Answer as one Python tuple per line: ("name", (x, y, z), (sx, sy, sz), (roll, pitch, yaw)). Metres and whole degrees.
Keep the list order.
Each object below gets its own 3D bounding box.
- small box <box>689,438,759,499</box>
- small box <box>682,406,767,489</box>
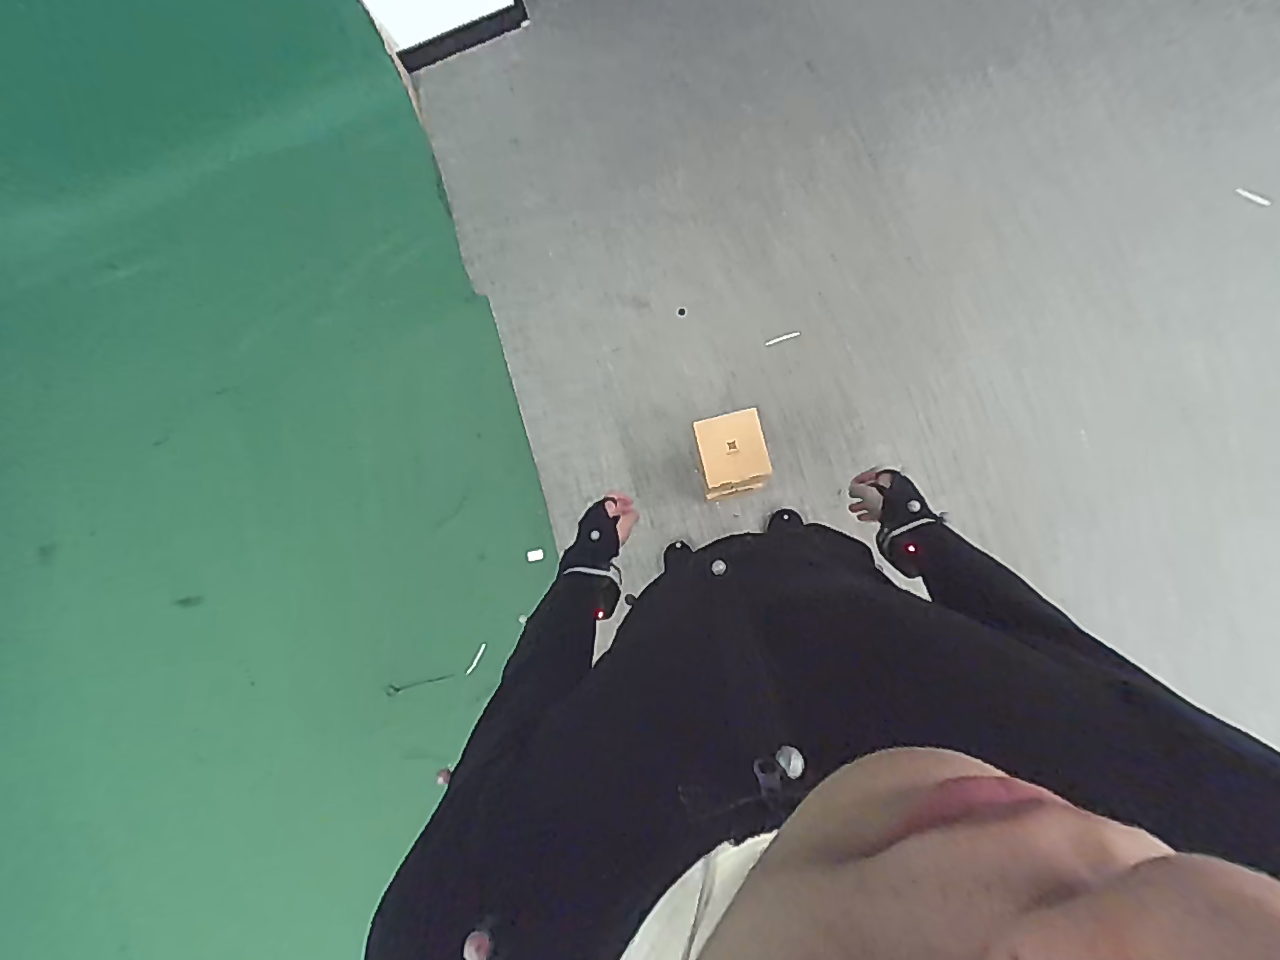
("small box", (0.243, -0.044, 1.584), (0.168, 0.176, 0.179), (-13, 81, 4))
("small box", (0.221, -0.080, 1.434), (0.179, 0.176, 0.168), (18, 88, 9))
